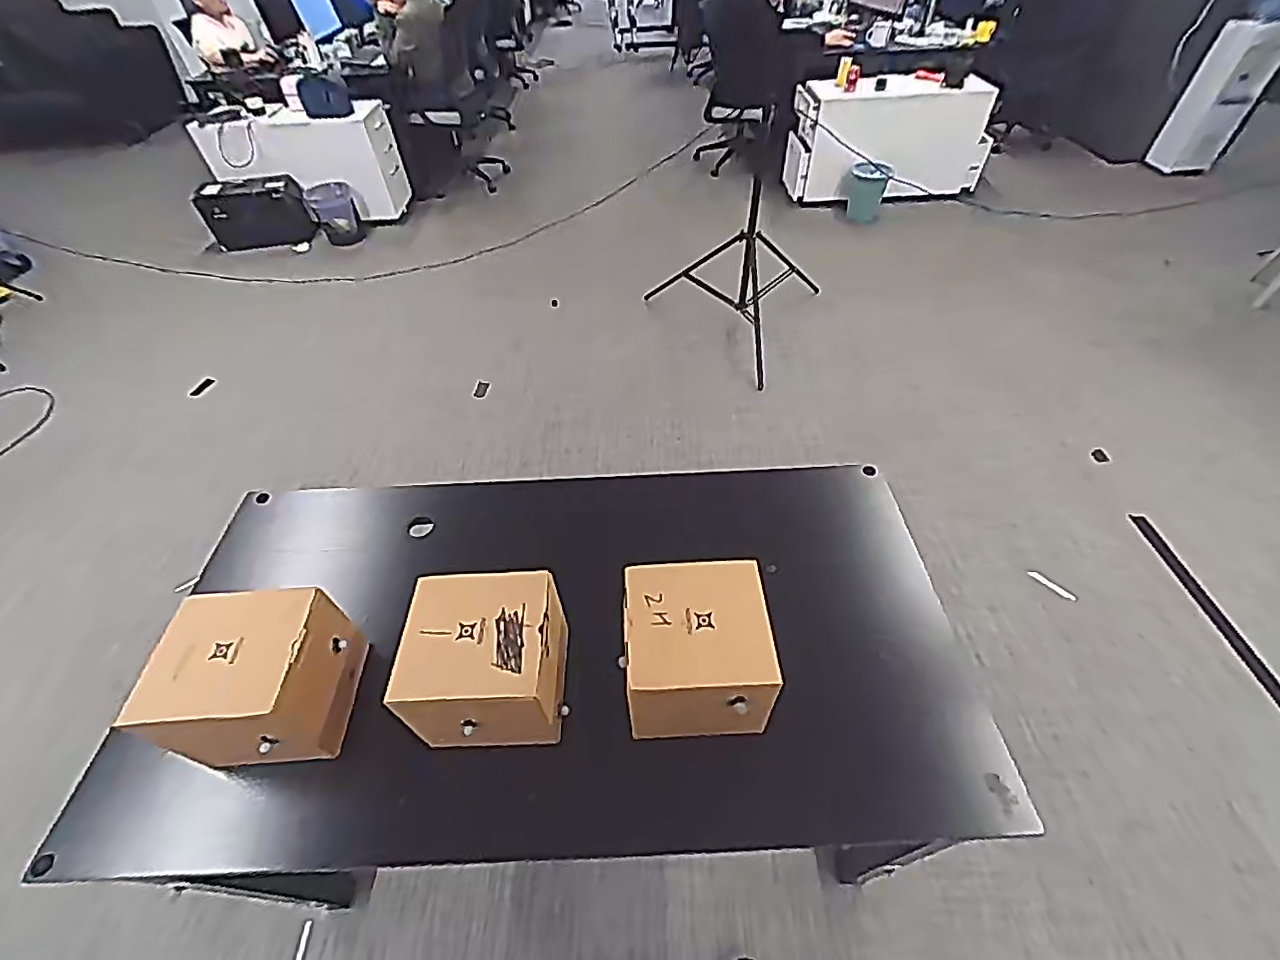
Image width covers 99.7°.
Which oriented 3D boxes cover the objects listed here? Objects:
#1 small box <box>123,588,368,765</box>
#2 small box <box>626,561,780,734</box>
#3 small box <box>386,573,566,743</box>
[{"bbox_3d":[-0.492,0.262,0.714,0.179,0.176,0.168,-5,47,-1],"label":"small box"},{"bbox_3d":[0.072,0.225,0.717,0.179,0.176,0.168,-3,48,1],"label":"small box"},{"bbox_3d":[-0.198,0.239,0.719,0.179,0.176,0.168,-3,48,1],"label":"small box"}]
